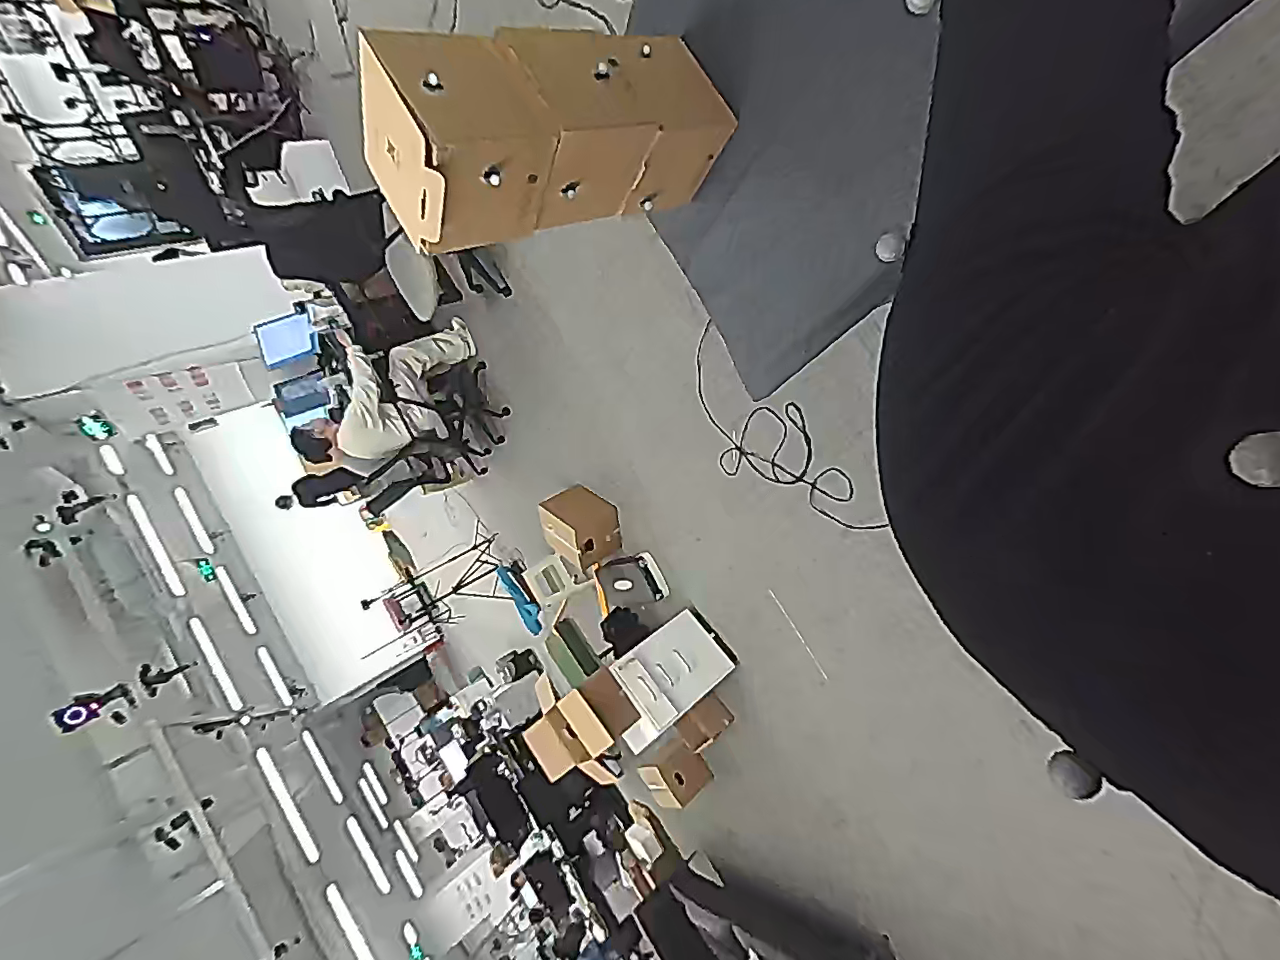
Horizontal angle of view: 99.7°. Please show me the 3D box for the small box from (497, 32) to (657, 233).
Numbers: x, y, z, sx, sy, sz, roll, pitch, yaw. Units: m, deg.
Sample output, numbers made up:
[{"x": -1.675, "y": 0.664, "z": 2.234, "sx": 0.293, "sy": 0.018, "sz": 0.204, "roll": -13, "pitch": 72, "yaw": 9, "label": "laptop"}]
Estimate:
[{"x": -0.104, "y": -0.494, "z": 0.780, "sx": 0.168, "sy": 0.176, "sz": 0.179, "roll": 58, "pitch": 148, "yaw": 5, "label": "small box"}]

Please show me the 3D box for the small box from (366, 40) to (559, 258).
[{"x": -0.228, "y": -0.426, "z": 0.701, "sx": 0.179, "sy": 0.176, "sz": 0.168, "roll": 57, "pitch": 147, "yaw": 9, "label": "small box"}]
